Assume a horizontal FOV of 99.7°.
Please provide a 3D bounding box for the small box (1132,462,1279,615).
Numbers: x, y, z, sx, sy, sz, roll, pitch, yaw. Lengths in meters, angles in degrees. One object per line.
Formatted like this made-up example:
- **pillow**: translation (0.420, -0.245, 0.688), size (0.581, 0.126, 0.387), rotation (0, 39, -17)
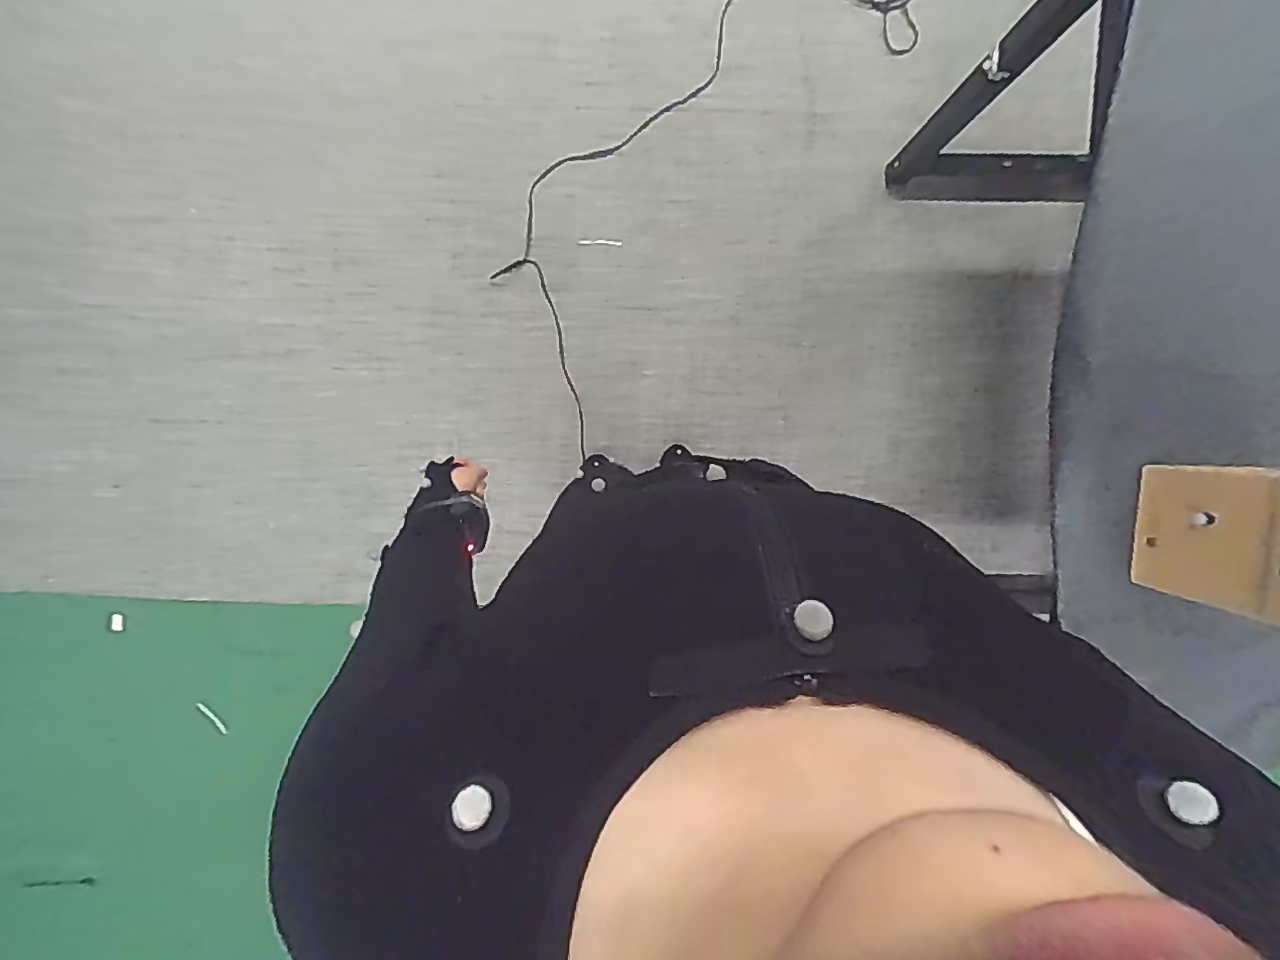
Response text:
- **small box**: translation (0.769, 0.064, 0.670), size (0.179, 0.176, 0.168), rotation (1, 95, -2)
